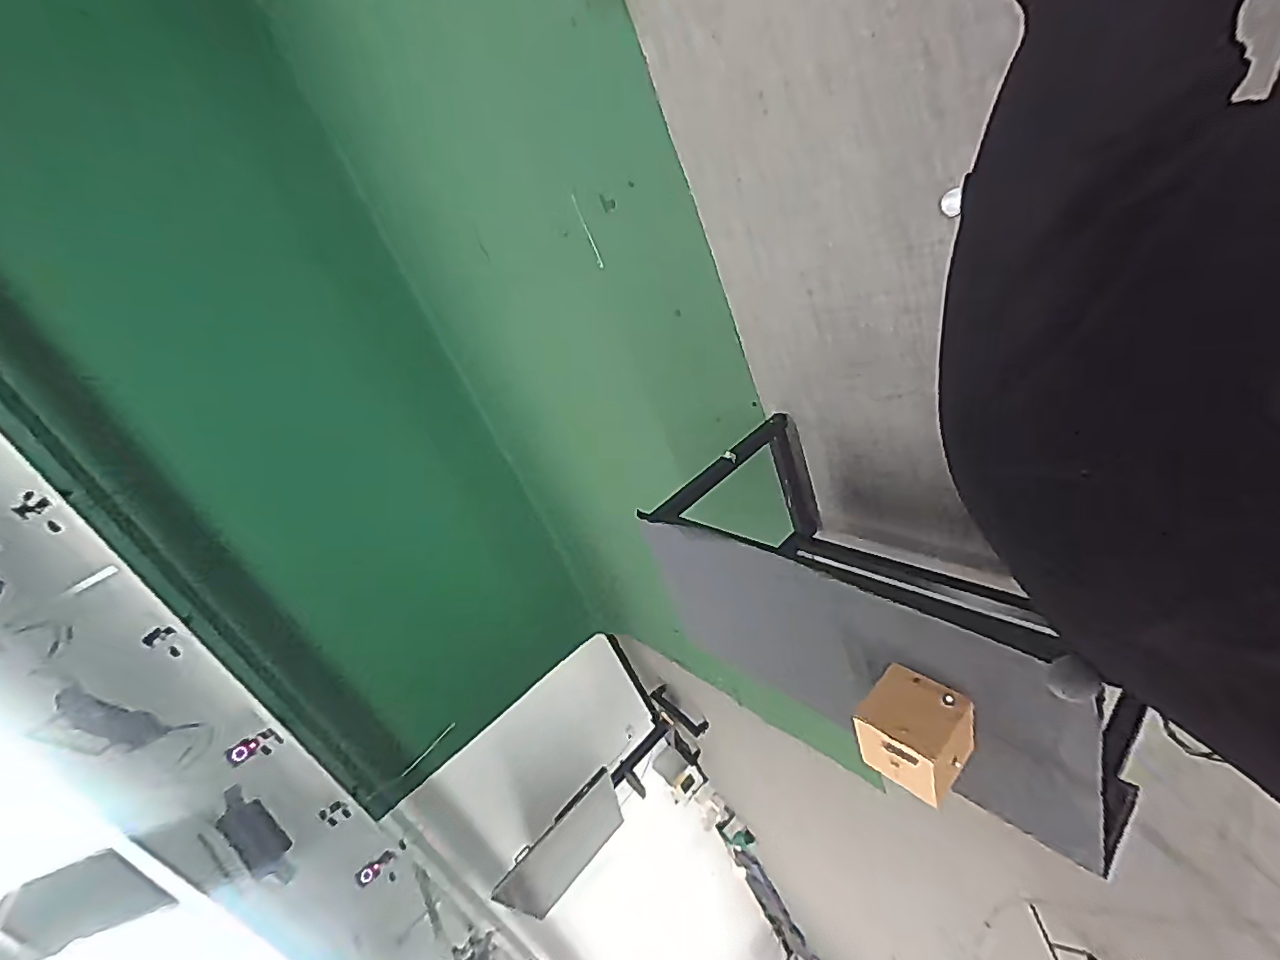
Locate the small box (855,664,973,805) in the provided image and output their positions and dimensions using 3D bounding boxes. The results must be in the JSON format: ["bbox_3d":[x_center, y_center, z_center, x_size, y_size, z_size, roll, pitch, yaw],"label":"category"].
[{"bbox_3d":[0.585,0.531,1.150,0.168,0.176,0.179,19,138,49],"label":"small box"}]
